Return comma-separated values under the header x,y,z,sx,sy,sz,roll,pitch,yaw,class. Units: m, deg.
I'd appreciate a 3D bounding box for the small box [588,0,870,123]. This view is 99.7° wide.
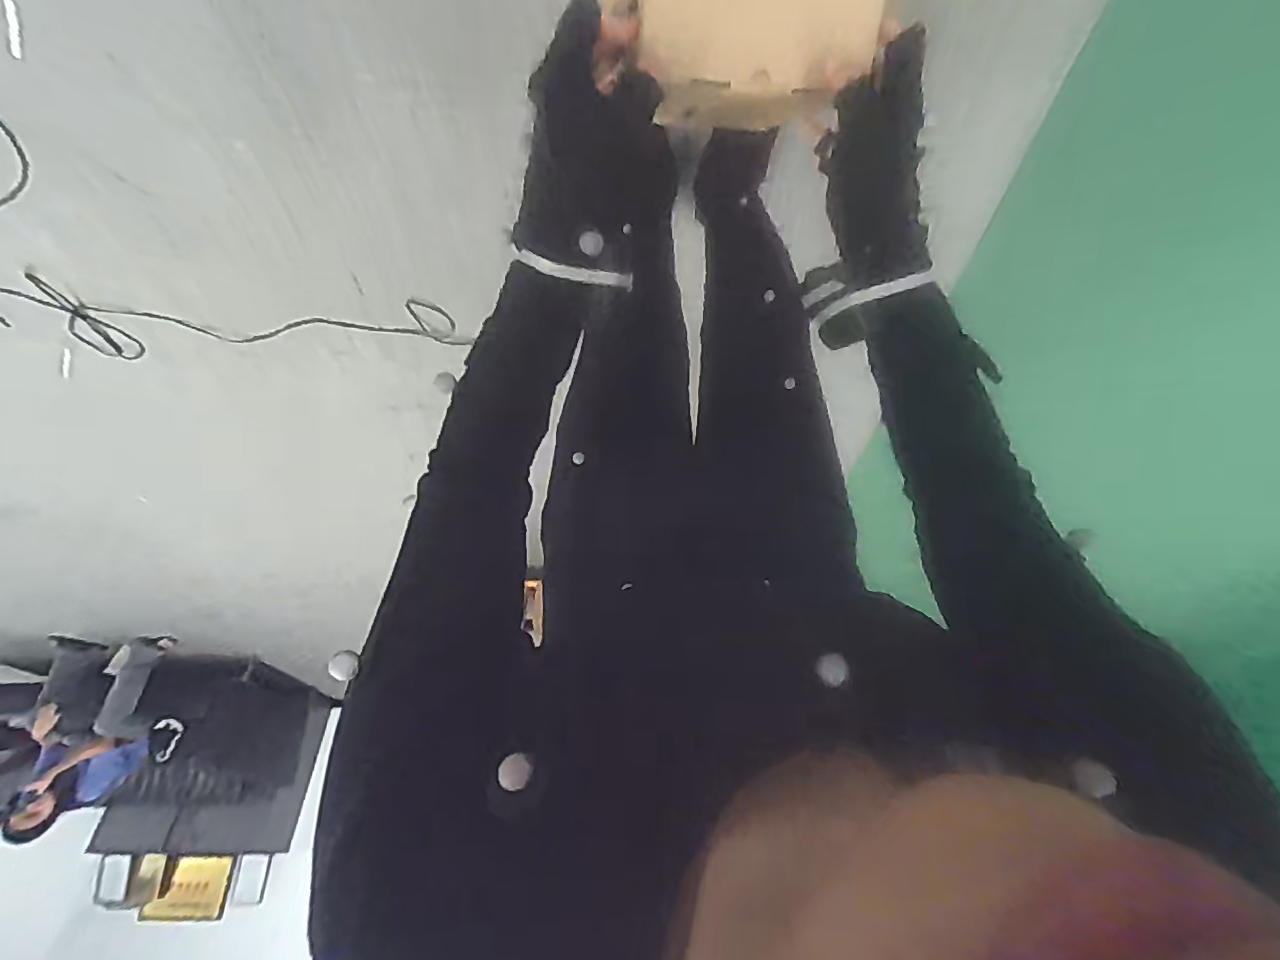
x,y,z,sx,sy,sz,roll,pitch,yaw,class
0.055,-0.381,0.395,0.168,0.176,0.179,-5,118,-14,small box
